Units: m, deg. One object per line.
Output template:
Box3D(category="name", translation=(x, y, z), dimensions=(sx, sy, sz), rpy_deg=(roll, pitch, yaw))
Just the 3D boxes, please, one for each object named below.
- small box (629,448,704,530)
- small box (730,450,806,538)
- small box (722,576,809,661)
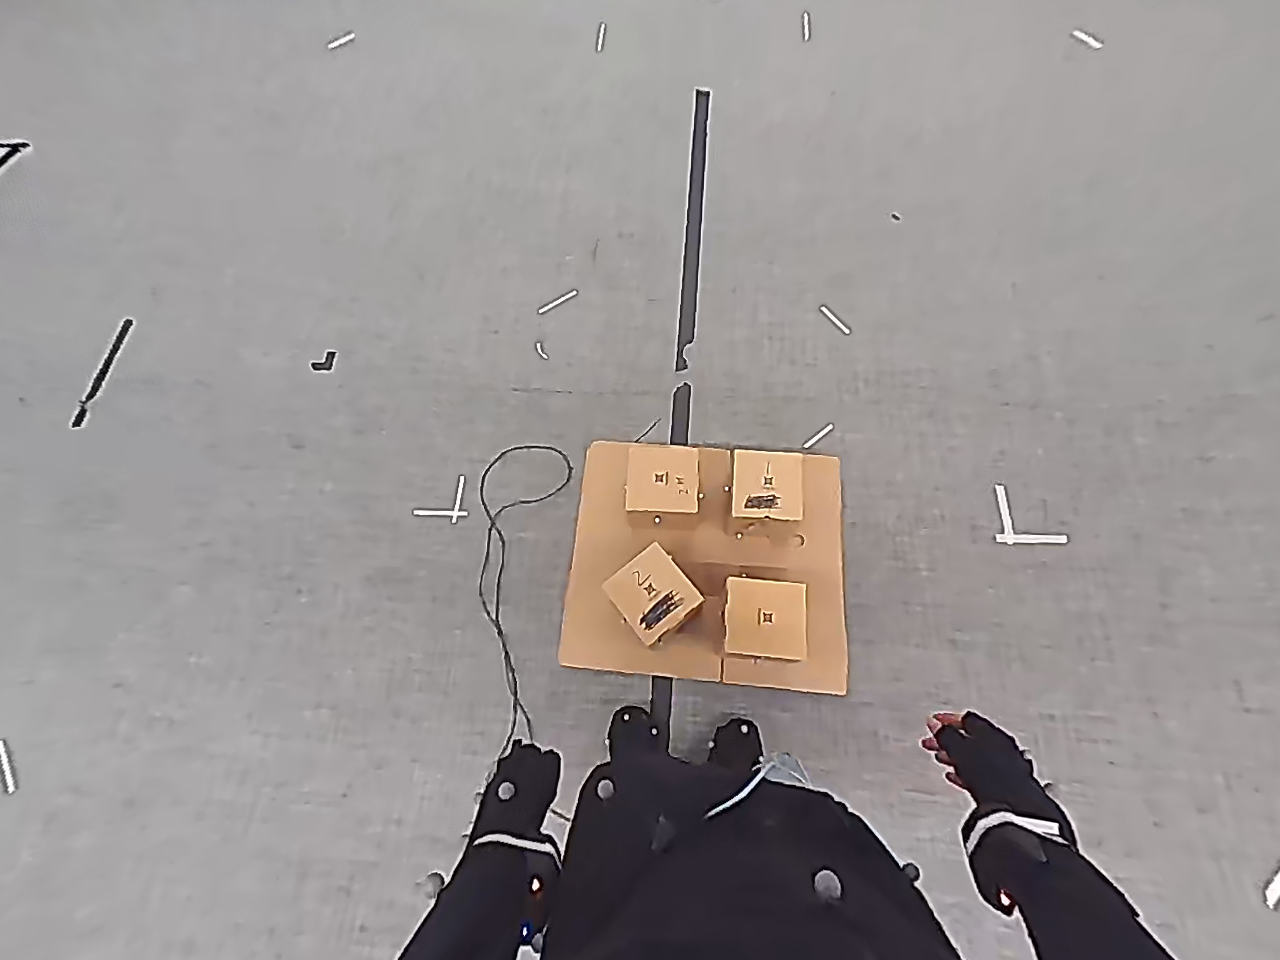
Box3D(category="small box", translation=(0.071, 0.027, 1.386), dimensions=(0.179, 0.176, 0.168), rpy_deg=(3, 70, 5))
Box3D(category="small box", translation=(0.320, 0.040, 1.367), dimensions=(0.168, 0.176, 0.179), rpy_deg=(5, 69, 6))
Box3D(category="small box", translation=(0.288, 0.328, 1.263), dimensions=(0.179, 0.176, 0.168), rpy_deg=(4, 70, 7))
